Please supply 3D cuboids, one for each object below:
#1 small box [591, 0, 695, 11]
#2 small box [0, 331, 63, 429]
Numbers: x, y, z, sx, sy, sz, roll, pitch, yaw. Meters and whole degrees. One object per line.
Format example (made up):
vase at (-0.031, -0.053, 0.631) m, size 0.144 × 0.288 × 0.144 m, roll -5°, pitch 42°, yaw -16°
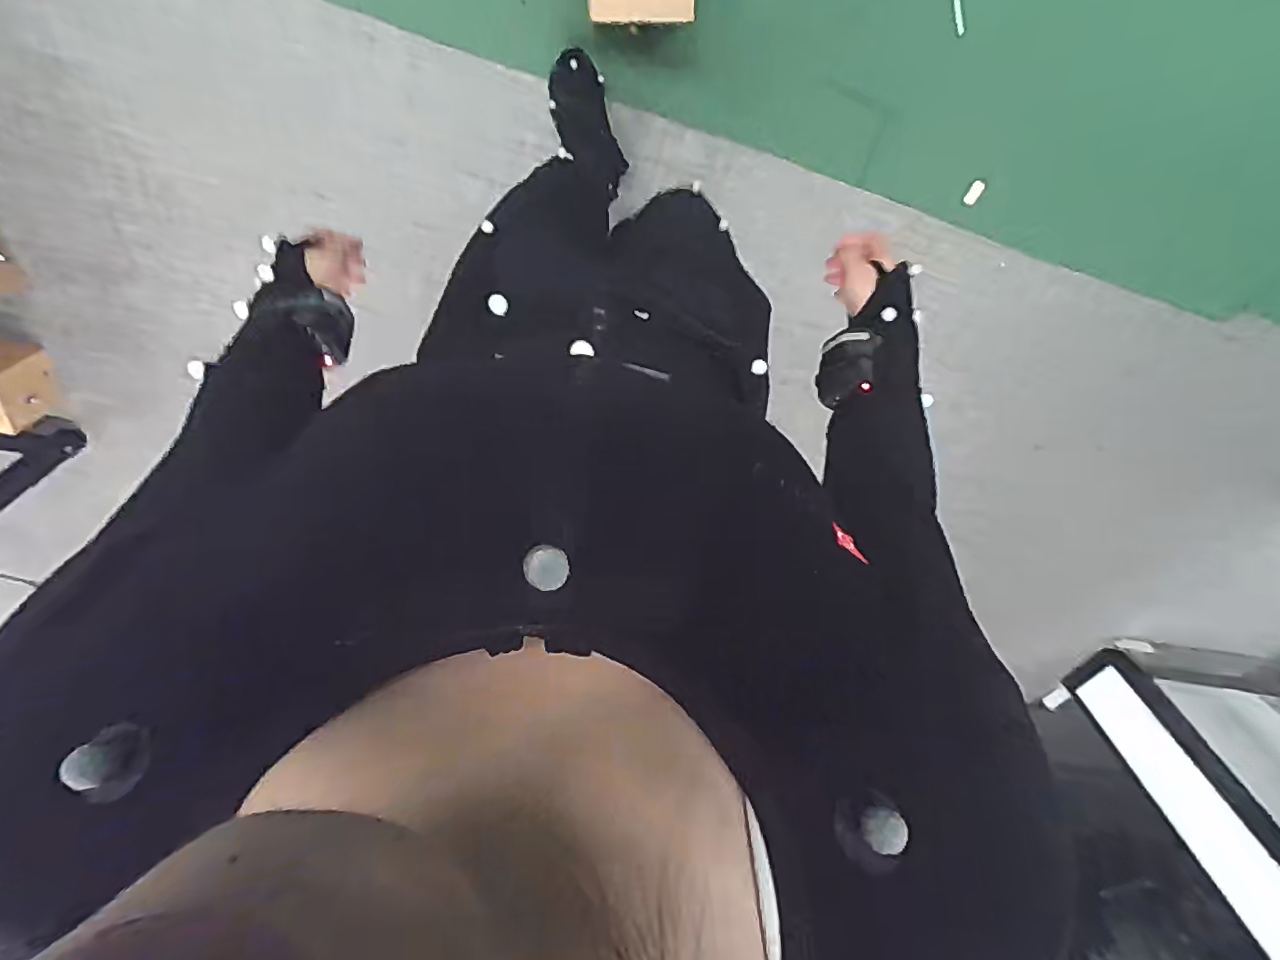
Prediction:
small box at (0.002, -0.896, 0.901) m, size 0.179 × 0.176 × 0.168 m, roll -3°, pitch 130°, yaw -3°
small box at (-1.593, -0.257, 1.333) m, size 0.179 × 0.176 × 0.168 m, roll 14°, pitch 128°, yaw -15°
